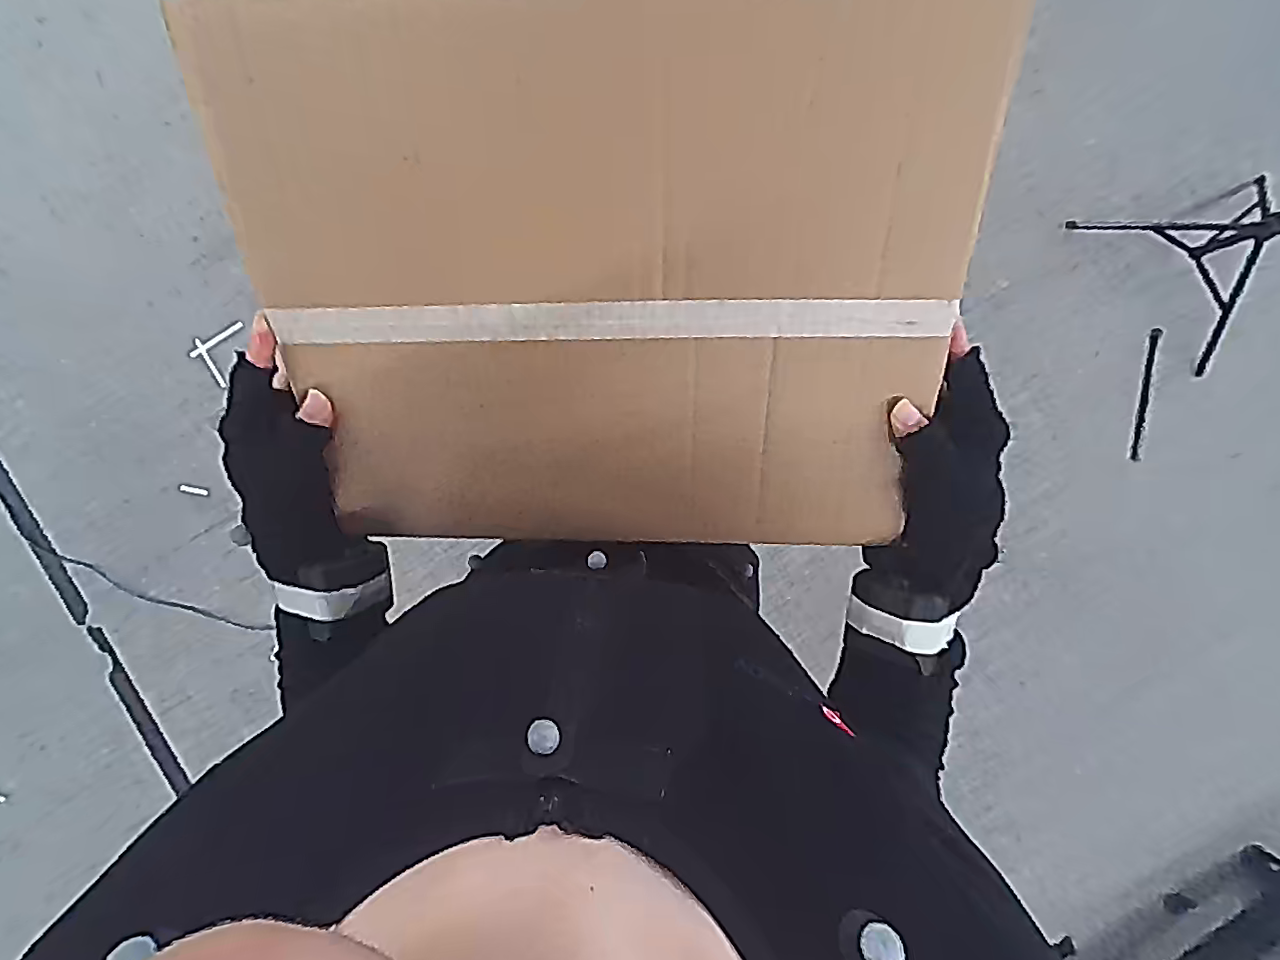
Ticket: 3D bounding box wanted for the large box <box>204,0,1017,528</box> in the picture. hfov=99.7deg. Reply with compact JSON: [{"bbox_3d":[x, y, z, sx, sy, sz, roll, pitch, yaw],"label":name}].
[{"bbox_3d":[-0.013,-0.171,0.458,0.408,0.320,0.320,1,120,3],"label":"large box"}]
